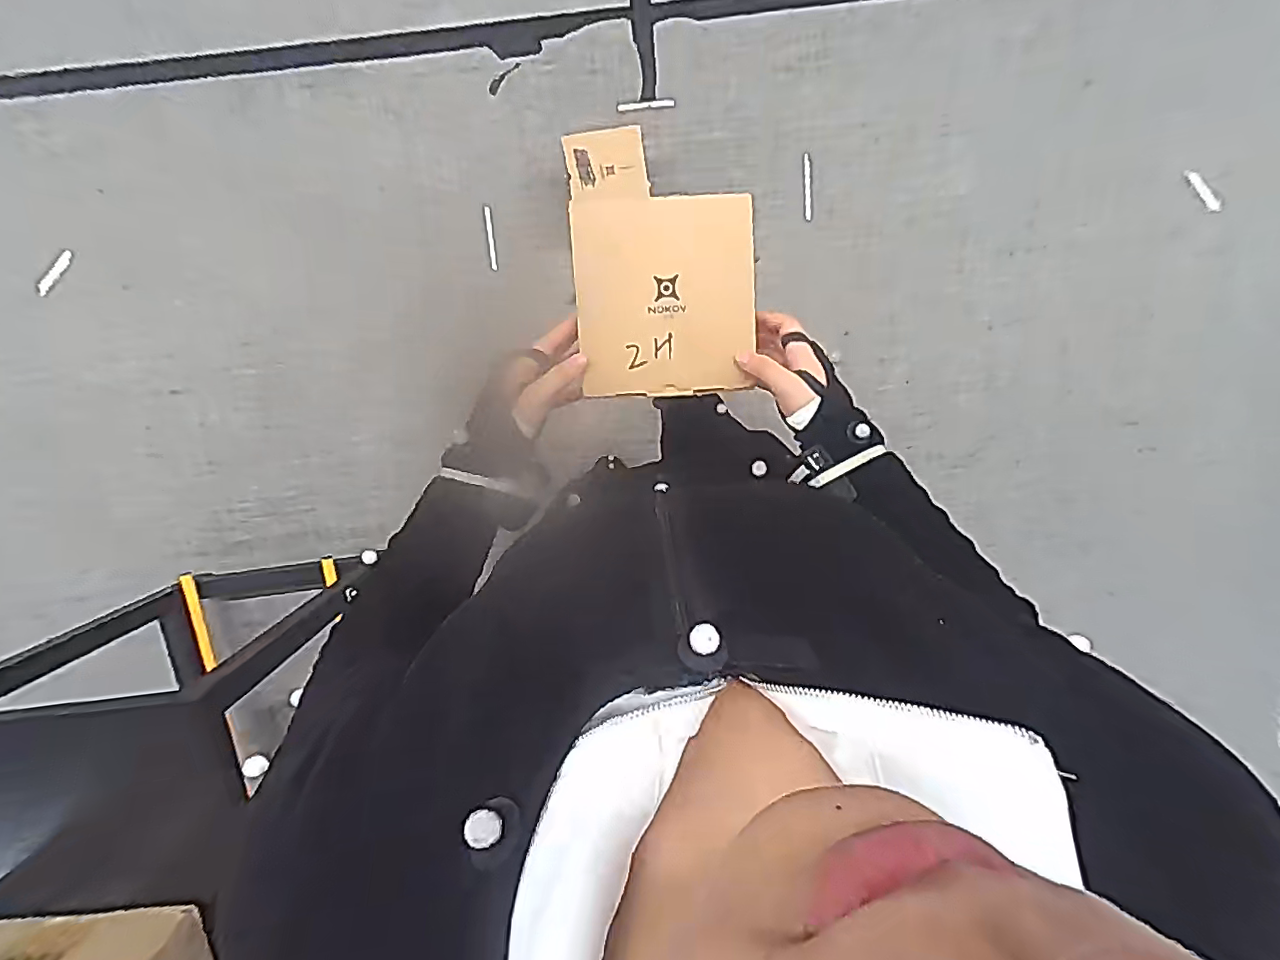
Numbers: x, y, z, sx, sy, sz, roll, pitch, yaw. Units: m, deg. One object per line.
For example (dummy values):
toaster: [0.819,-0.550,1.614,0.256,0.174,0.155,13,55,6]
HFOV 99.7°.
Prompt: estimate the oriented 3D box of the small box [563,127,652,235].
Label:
small box: [-0.071,-0.683,1.253,0.179,0.176,0.168,-9,101,0]
